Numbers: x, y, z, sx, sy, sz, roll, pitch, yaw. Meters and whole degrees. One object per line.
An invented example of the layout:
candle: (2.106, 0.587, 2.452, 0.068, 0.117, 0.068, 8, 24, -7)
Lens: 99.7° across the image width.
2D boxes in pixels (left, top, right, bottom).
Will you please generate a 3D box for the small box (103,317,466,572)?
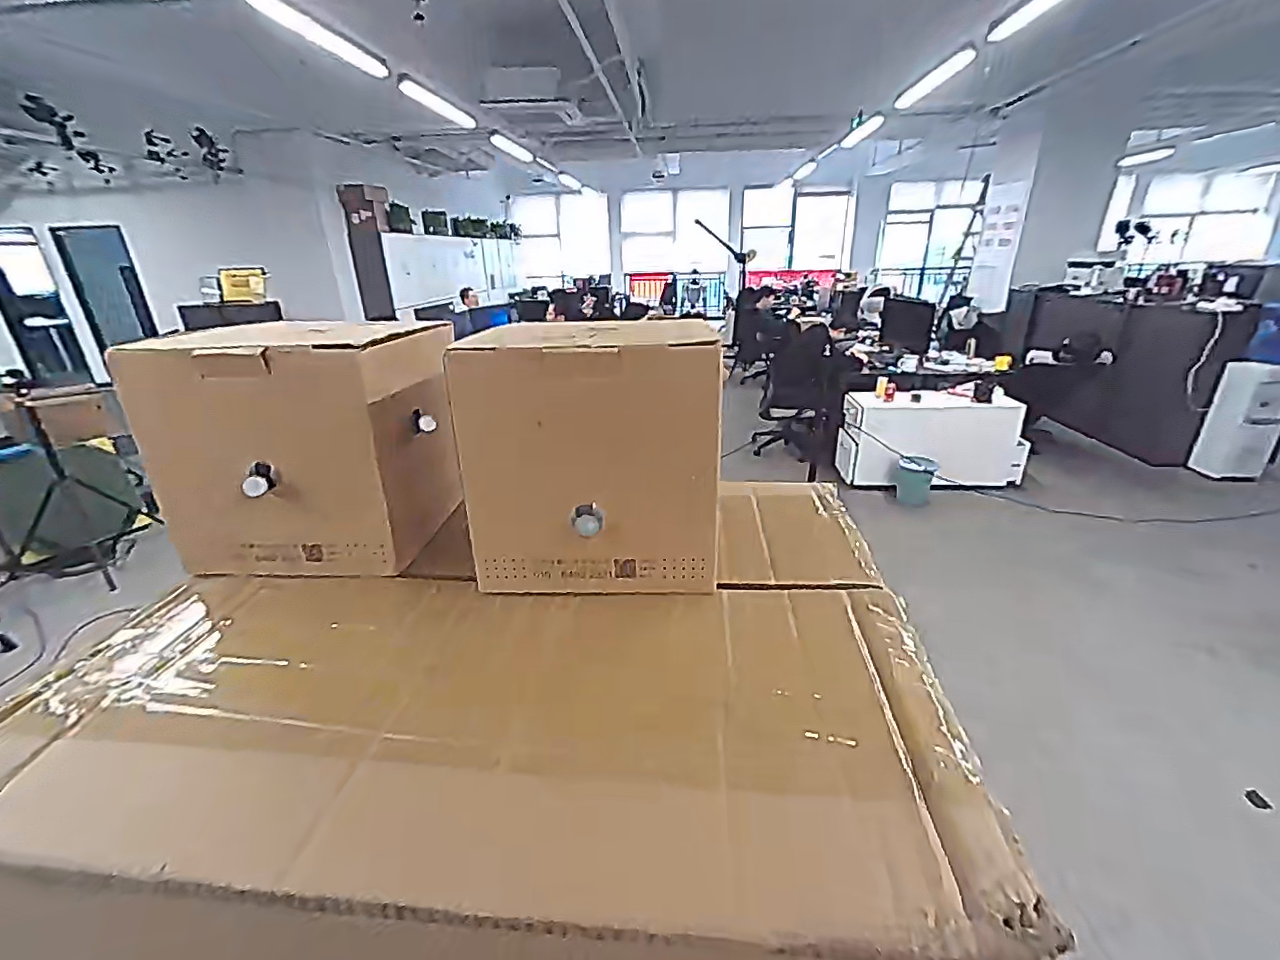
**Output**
small box: (-0.254, -0.036, 0.444, 0.168, 0.176, 0.179, 0, 22, 1)

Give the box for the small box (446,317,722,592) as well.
small box: (-0.028, -0.032, 0.417, 0.168, 0.176, 0.179, -1, 21, 3)
